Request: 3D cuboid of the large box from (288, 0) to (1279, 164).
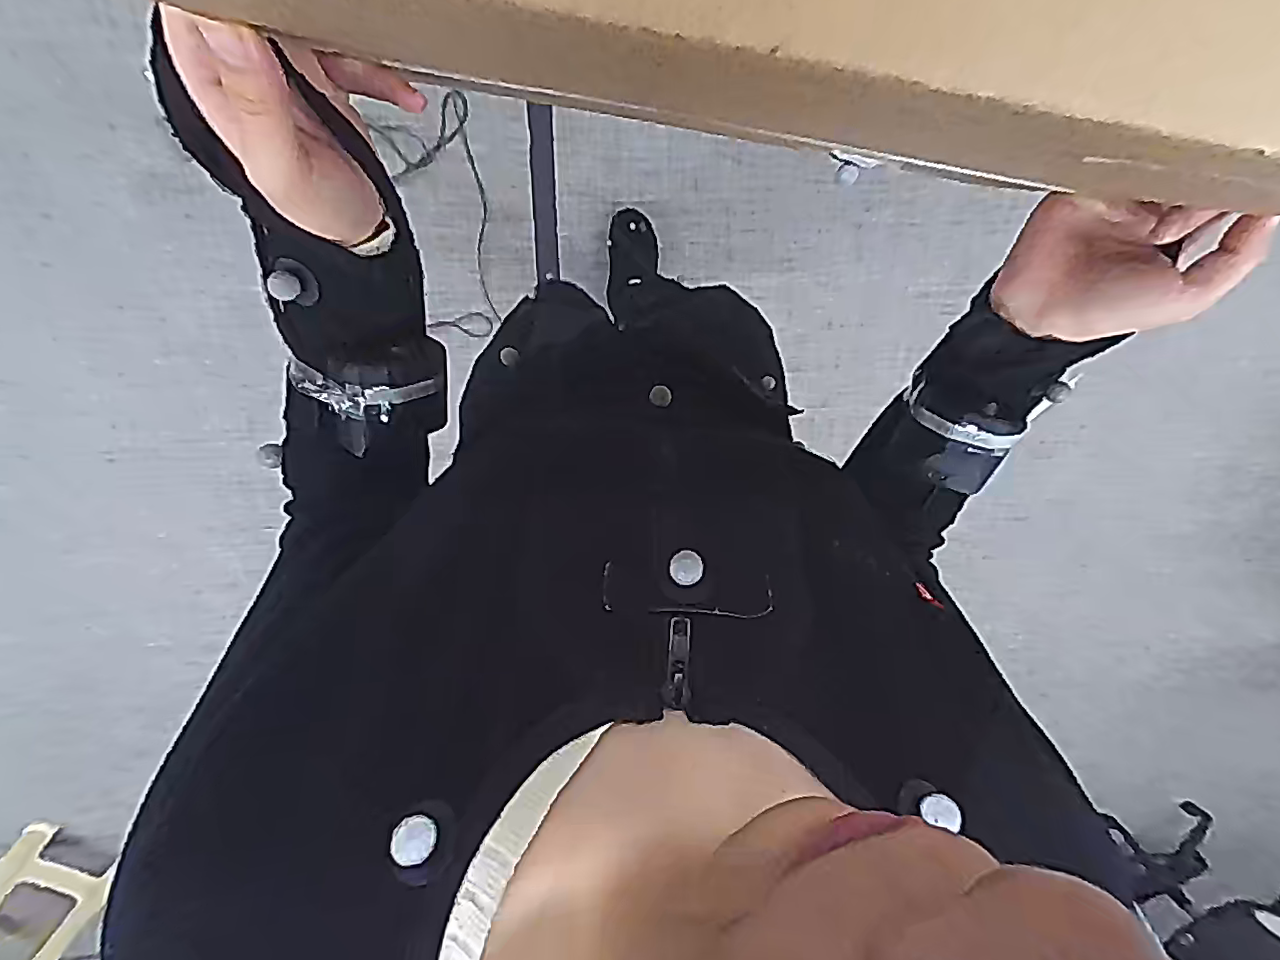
[{"bbox_3d":[0.077,-0.302,0.155,0.408,0.320,0.320,3,122,-9],"label":"large box"}]
